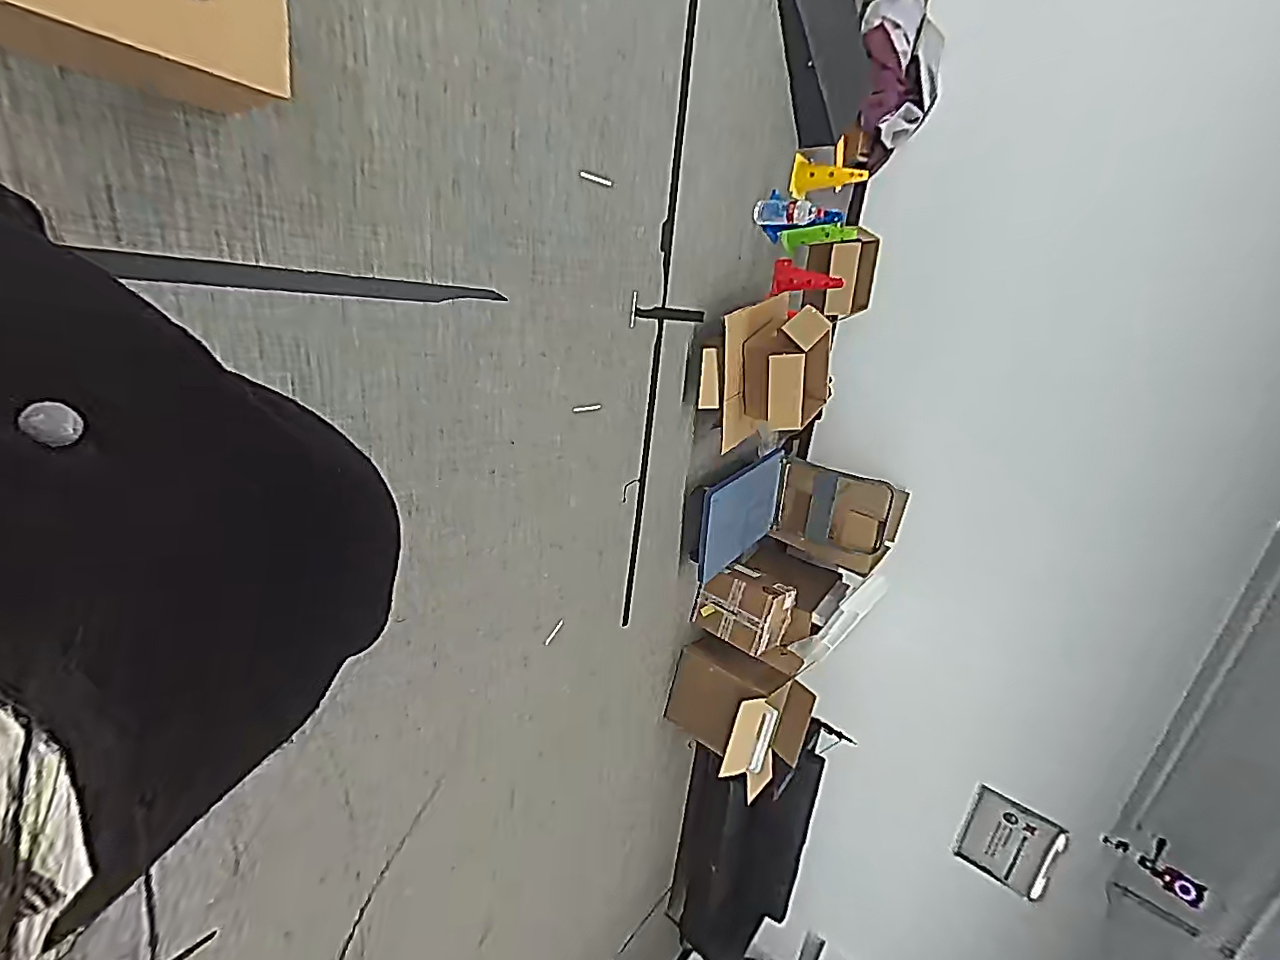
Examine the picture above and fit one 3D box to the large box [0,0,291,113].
[{"bbox_3d":[-0.813,-0.800,0.800,0.408,0.320,0.320,-15,118,-51],"label":"large box"}]
